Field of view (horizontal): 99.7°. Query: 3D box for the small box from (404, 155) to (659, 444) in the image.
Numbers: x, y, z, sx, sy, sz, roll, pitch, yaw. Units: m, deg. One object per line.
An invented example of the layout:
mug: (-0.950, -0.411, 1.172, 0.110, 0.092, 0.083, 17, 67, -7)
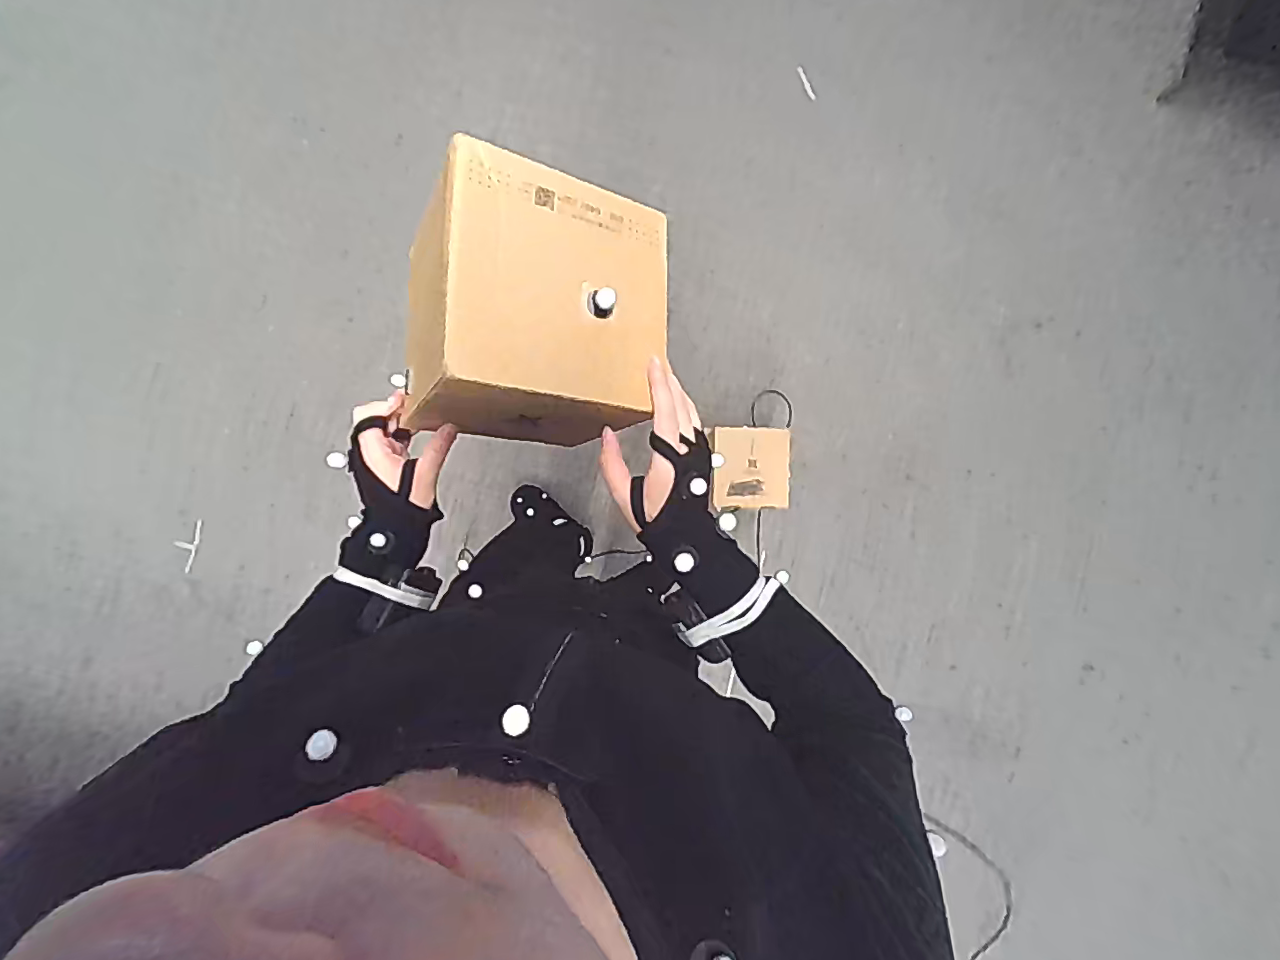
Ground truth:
small box: (-0.099, -0.132, 0.462, 0.168, 0.179, 0.176, 5, 82, -30)

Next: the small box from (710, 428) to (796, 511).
small box: (0.256, -0.021, 1.257, 0.168, 0.176, 0.179, 2, 88, 0)
